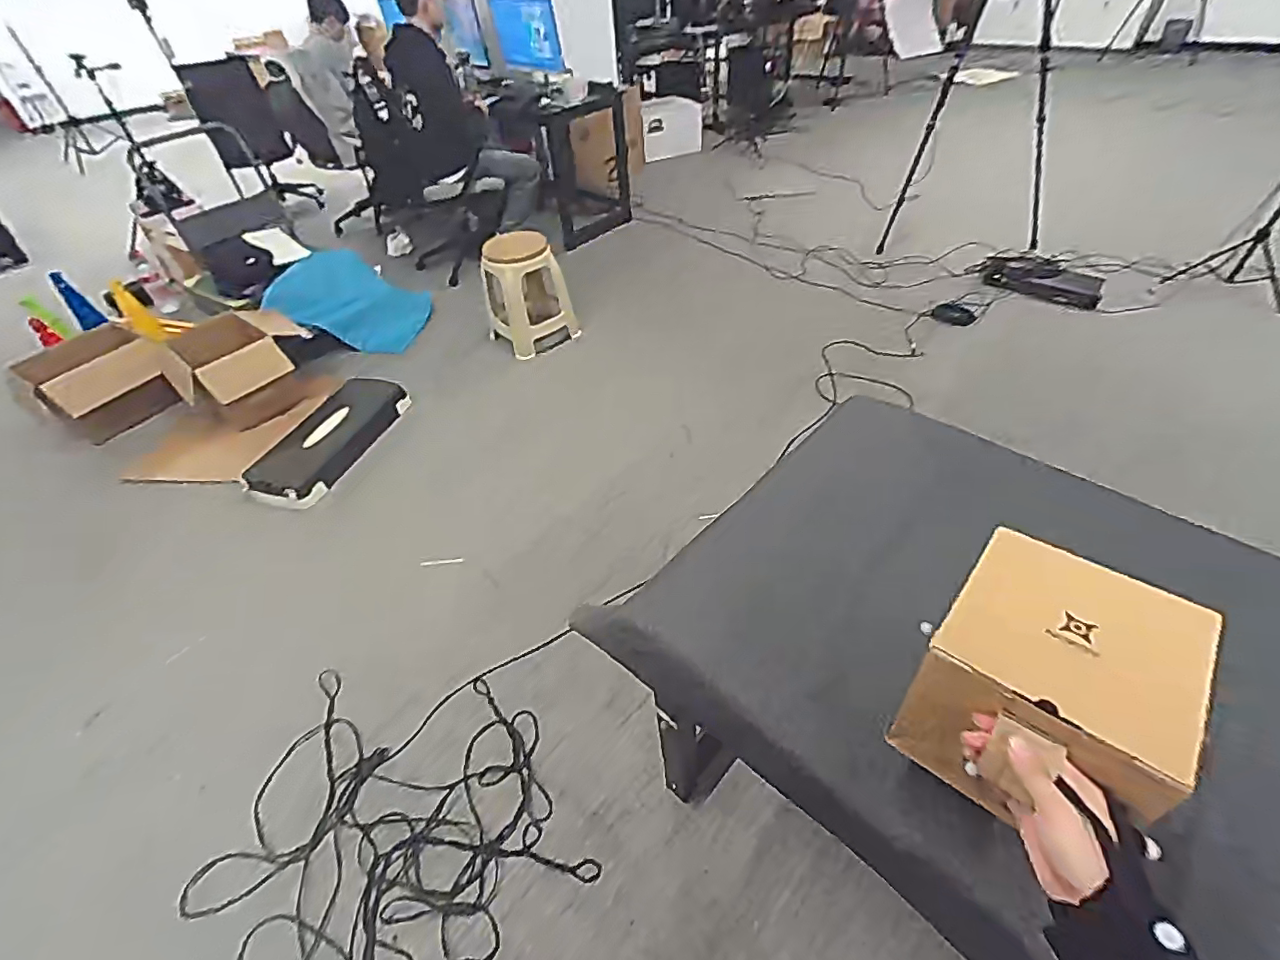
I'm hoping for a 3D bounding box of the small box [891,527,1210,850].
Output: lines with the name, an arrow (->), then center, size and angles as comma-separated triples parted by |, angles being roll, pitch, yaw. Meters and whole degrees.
small box -> 0.353, 0.182, 0.490 | 0.168, 0.176, 0.179 | 28, 51, 32
